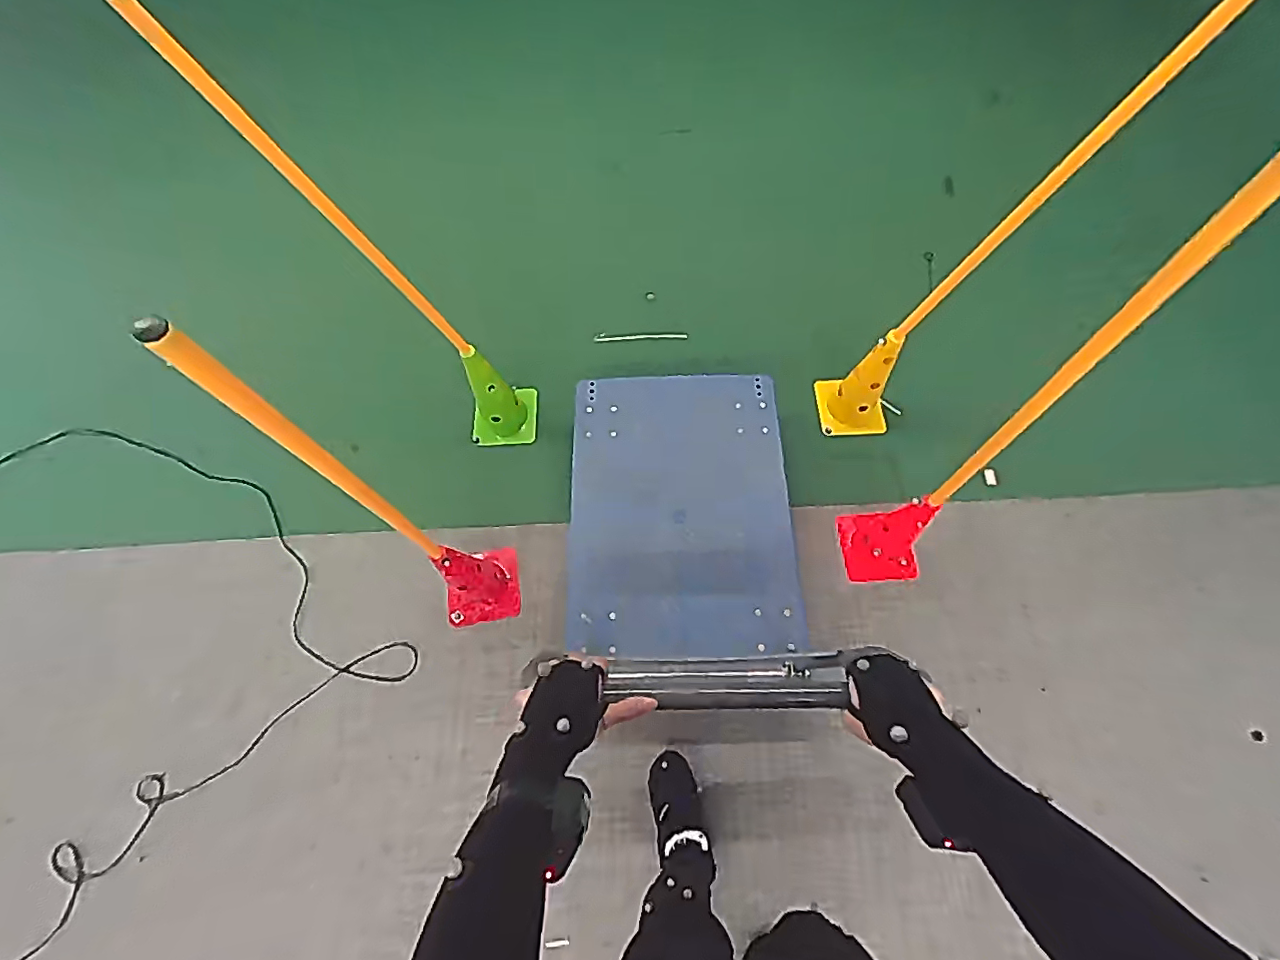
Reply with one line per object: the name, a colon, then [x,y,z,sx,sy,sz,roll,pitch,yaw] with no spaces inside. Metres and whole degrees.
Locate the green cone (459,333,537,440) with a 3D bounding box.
green cone: [-0.437,-0.289,1.562,0.200,0.368,0.202,-3,66,1]

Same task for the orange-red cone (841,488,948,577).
orange-red cone: [0.668,0.105,1.361,0.198,0.360,0.199,-2,65,0]
